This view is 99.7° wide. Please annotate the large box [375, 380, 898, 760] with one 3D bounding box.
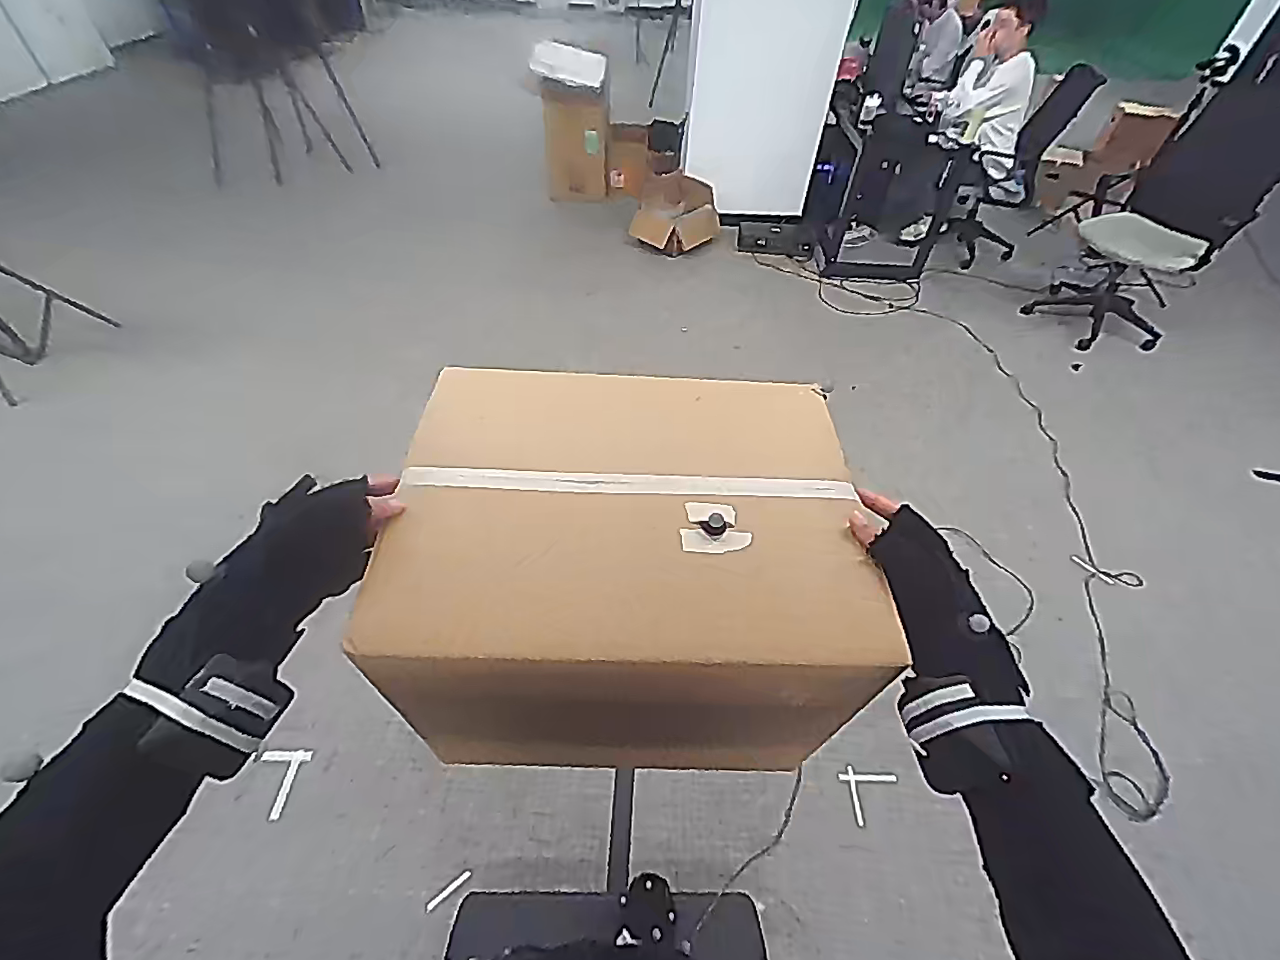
[{"bbox_3d":[-0.010,0.109,0.610,0.408,0.320,0.320,2,50,-3],"label":"large box"}]
